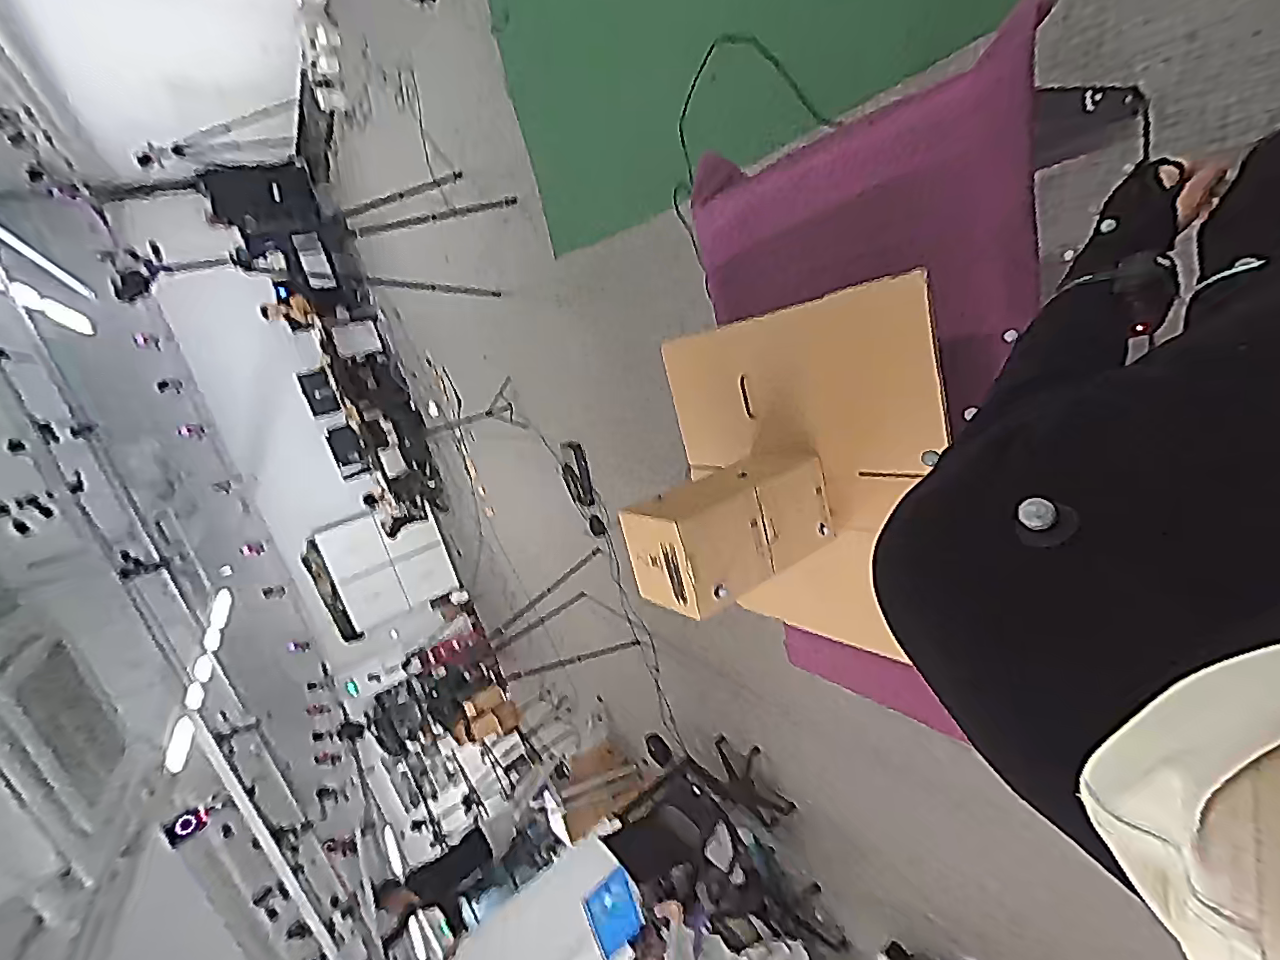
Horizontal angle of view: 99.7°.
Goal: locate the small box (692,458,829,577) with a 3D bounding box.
[{"bbox_3d":[0.229,0.060,1.004,0.179,0.176,0.168,4,112,58],"label":"small box"}]
